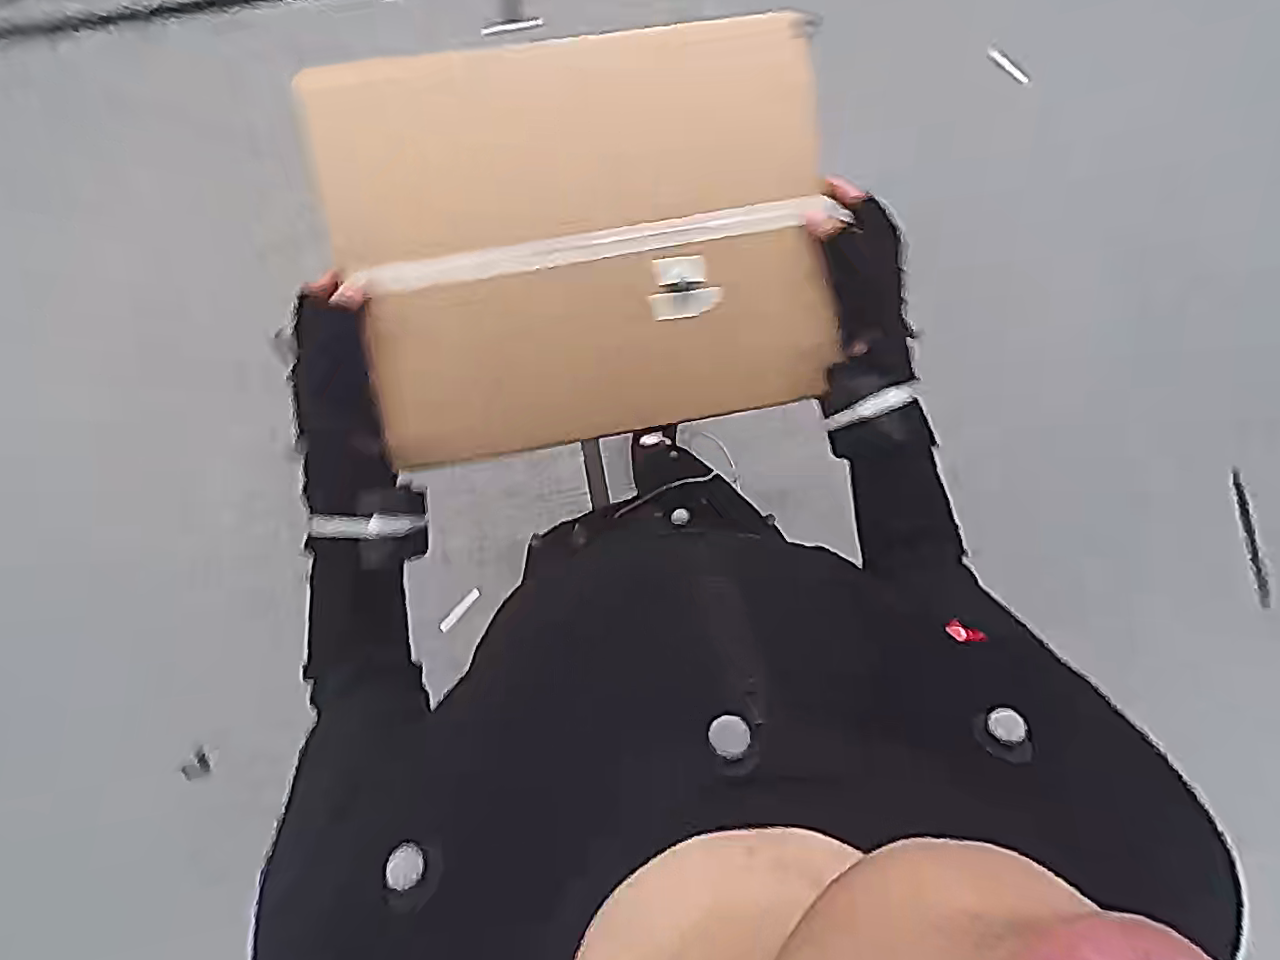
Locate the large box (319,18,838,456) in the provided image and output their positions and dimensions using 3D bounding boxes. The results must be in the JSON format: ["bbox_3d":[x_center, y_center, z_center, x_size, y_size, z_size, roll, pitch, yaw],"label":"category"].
[{"bbox_3d":[-0.053,-0.226,0.609,0.408,0.320,0.320,-11,100,-6],"label":"large box"}]
